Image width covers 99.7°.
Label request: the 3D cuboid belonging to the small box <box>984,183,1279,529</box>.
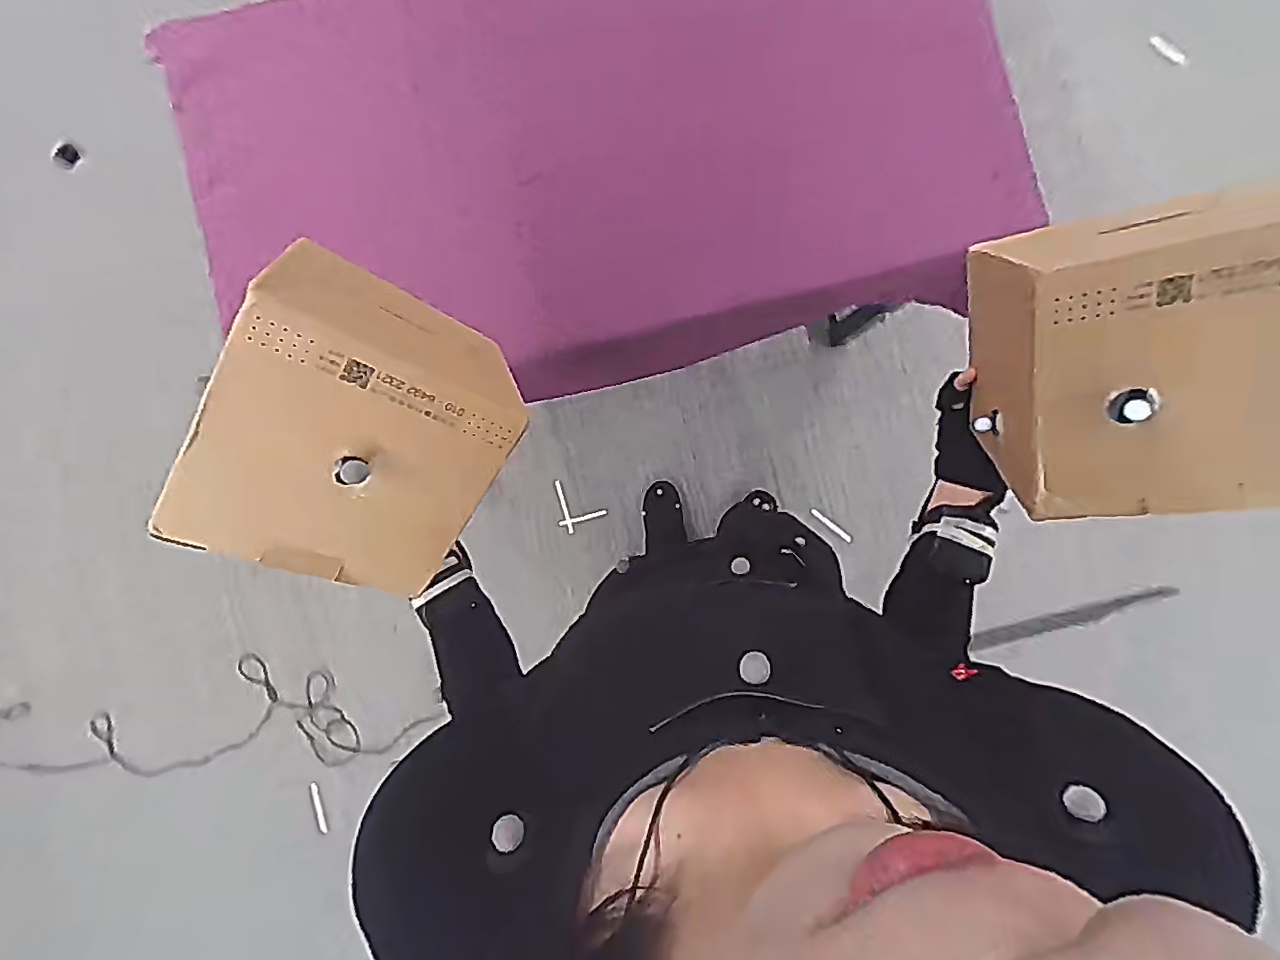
[{"bbox_3d":[0.343,-0.087,0.360,0.168,0.179,0.176,-5,115,21],"label":"small box"}]

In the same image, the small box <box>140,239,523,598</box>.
[{"bbox_3d":[-0.204,-0.049,0.392,0.168,0.179,0.176,26,106,-32],"label":"small box"}]
